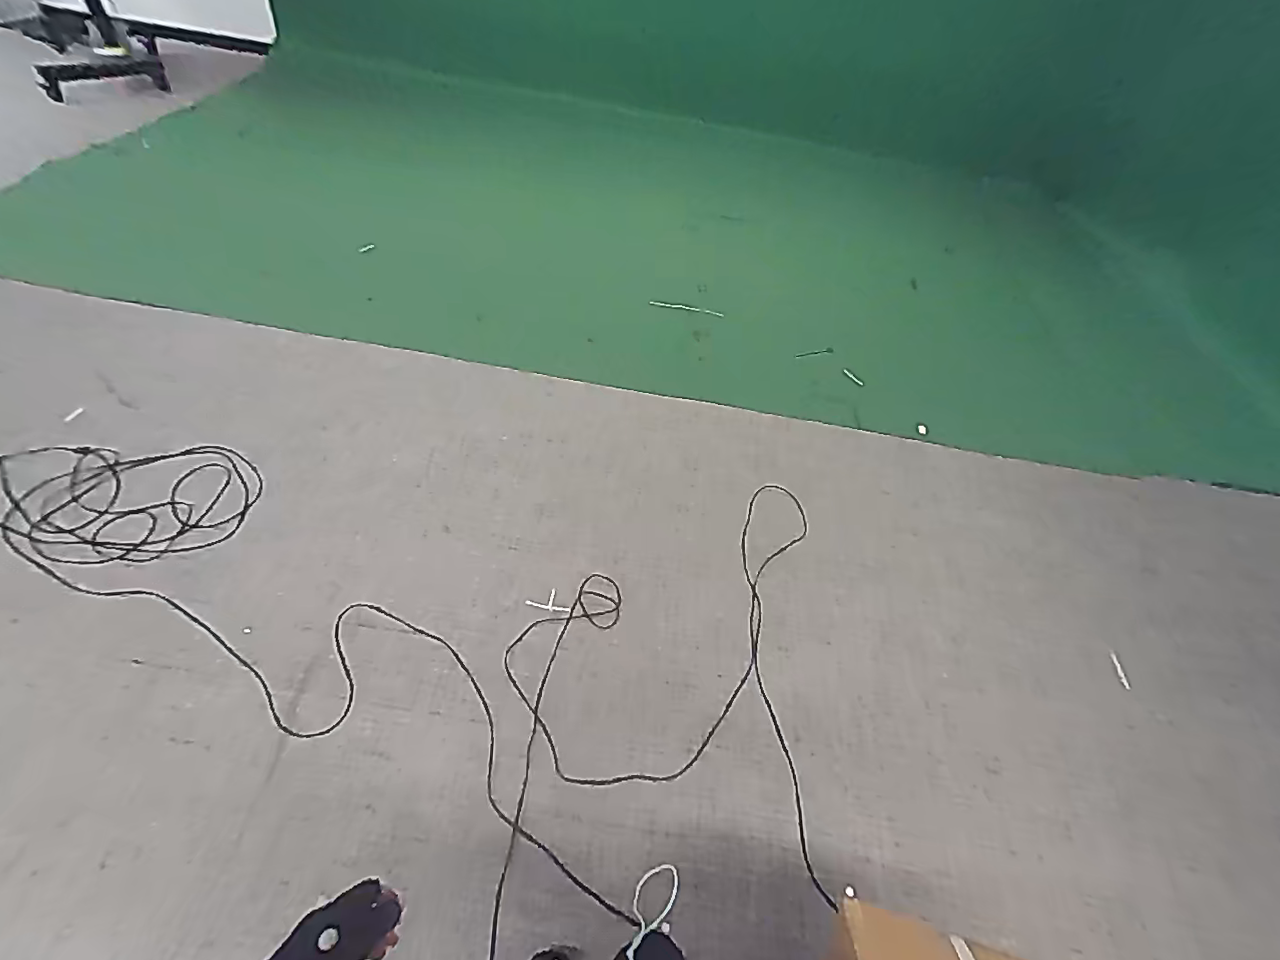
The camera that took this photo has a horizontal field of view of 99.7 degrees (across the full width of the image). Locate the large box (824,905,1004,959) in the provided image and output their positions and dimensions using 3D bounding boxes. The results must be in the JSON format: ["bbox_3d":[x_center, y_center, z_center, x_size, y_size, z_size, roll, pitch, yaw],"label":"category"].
[{"bbox_3d":[0.373,0.807,0.586,0.320,0.408,0.320,15,91,9],"label":"large box"}]
